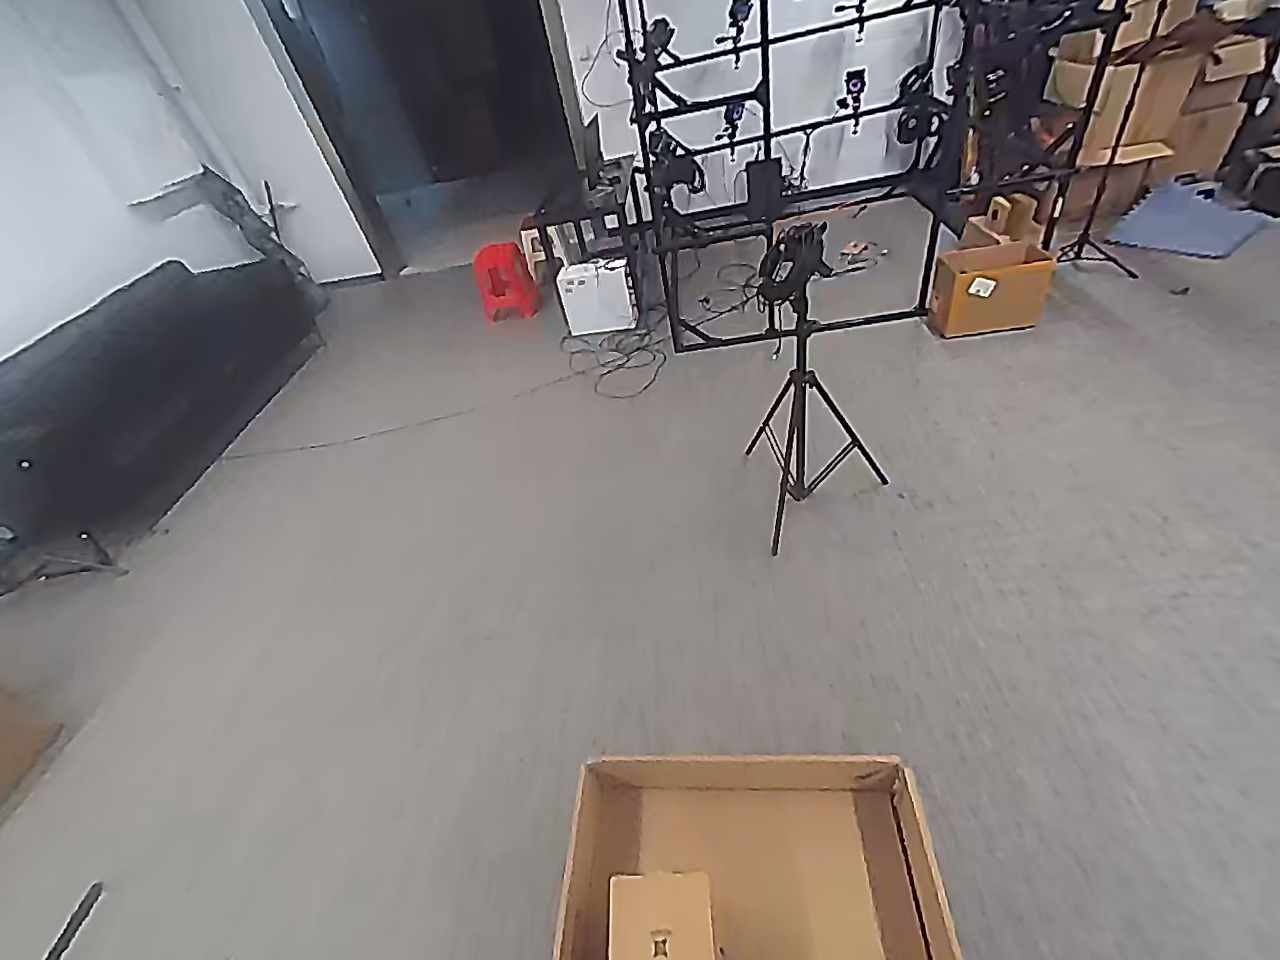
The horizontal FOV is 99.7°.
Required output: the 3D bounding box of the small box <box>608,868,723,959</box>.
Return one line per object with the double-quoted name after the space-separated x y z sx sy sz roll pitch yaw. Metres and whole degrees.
0.046 0.767 0.888 0.168 0.176 0.179 -8 40 7 "small box"
